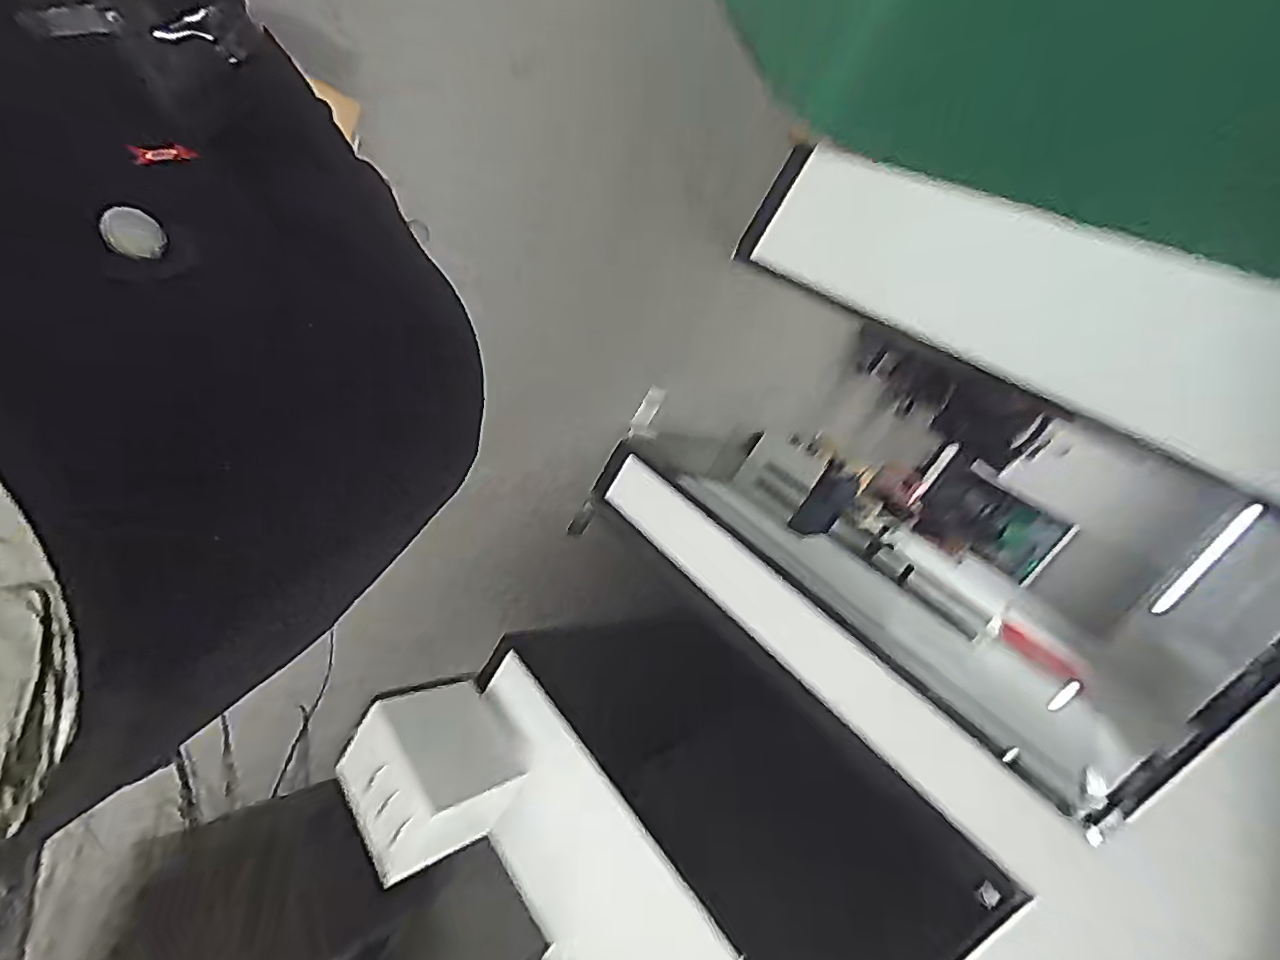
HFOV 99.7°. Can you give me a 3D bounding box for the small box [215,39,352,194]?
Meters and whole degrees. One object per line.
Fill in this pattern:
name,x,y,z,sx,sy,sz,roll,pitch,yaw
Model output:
small box,-0.679,-0.684,1.023,0.168,0.176,0.179,-3,127,-51
